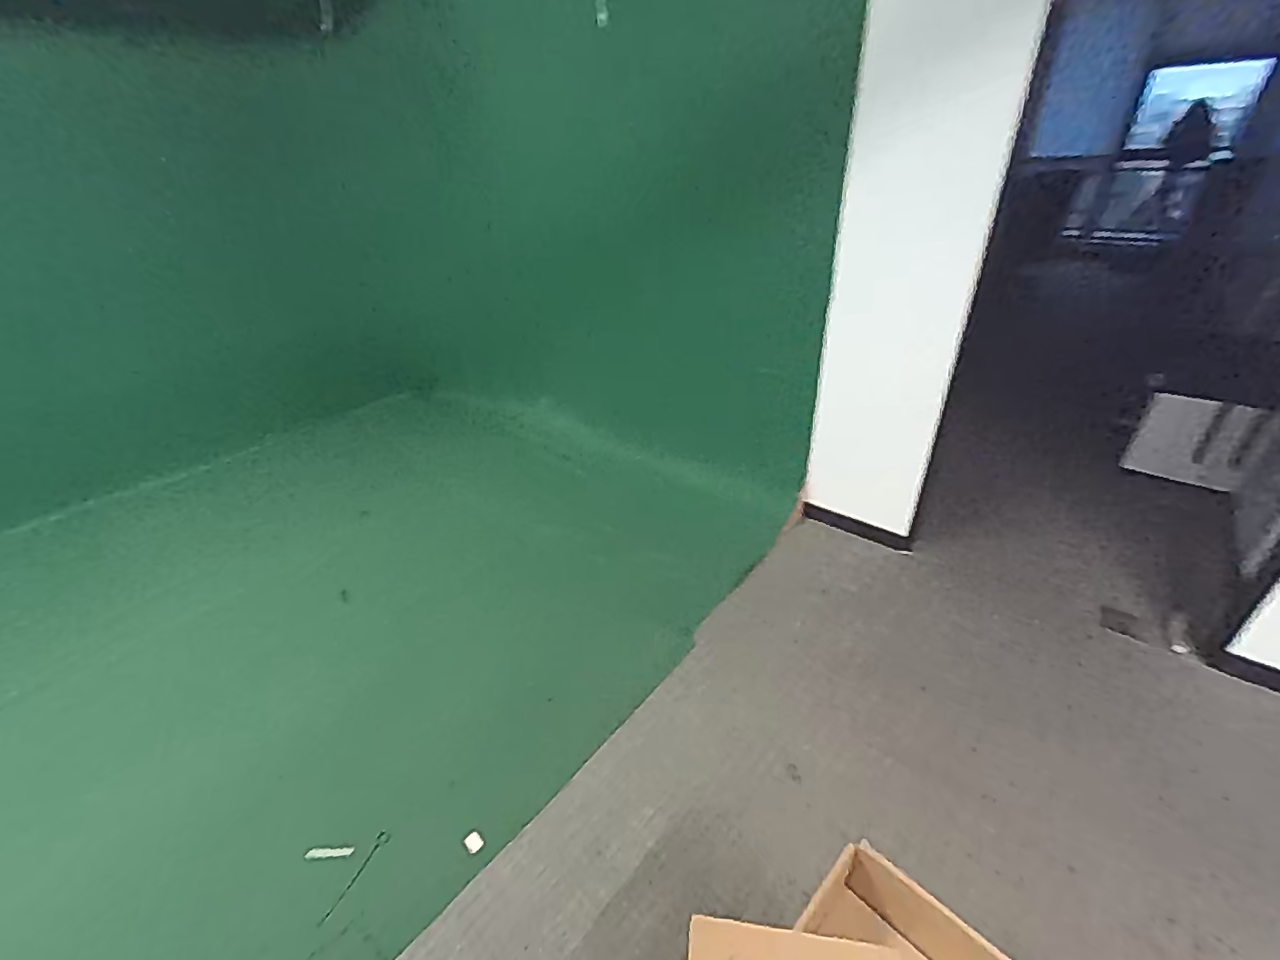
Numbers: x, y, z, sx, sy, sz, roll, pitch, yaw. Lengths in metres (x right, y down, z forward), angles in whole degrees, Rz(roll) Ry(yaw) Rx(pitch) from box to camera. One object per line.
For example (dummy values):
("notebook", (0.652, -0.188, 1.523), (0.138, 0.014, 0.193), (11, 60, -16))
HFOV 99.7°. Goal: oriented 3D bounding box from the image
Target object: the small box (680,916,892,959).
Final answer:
("small box", (0.110, 0.481, 0.421), (0.168, 0.176, 0.179), (2, 39, 8))
